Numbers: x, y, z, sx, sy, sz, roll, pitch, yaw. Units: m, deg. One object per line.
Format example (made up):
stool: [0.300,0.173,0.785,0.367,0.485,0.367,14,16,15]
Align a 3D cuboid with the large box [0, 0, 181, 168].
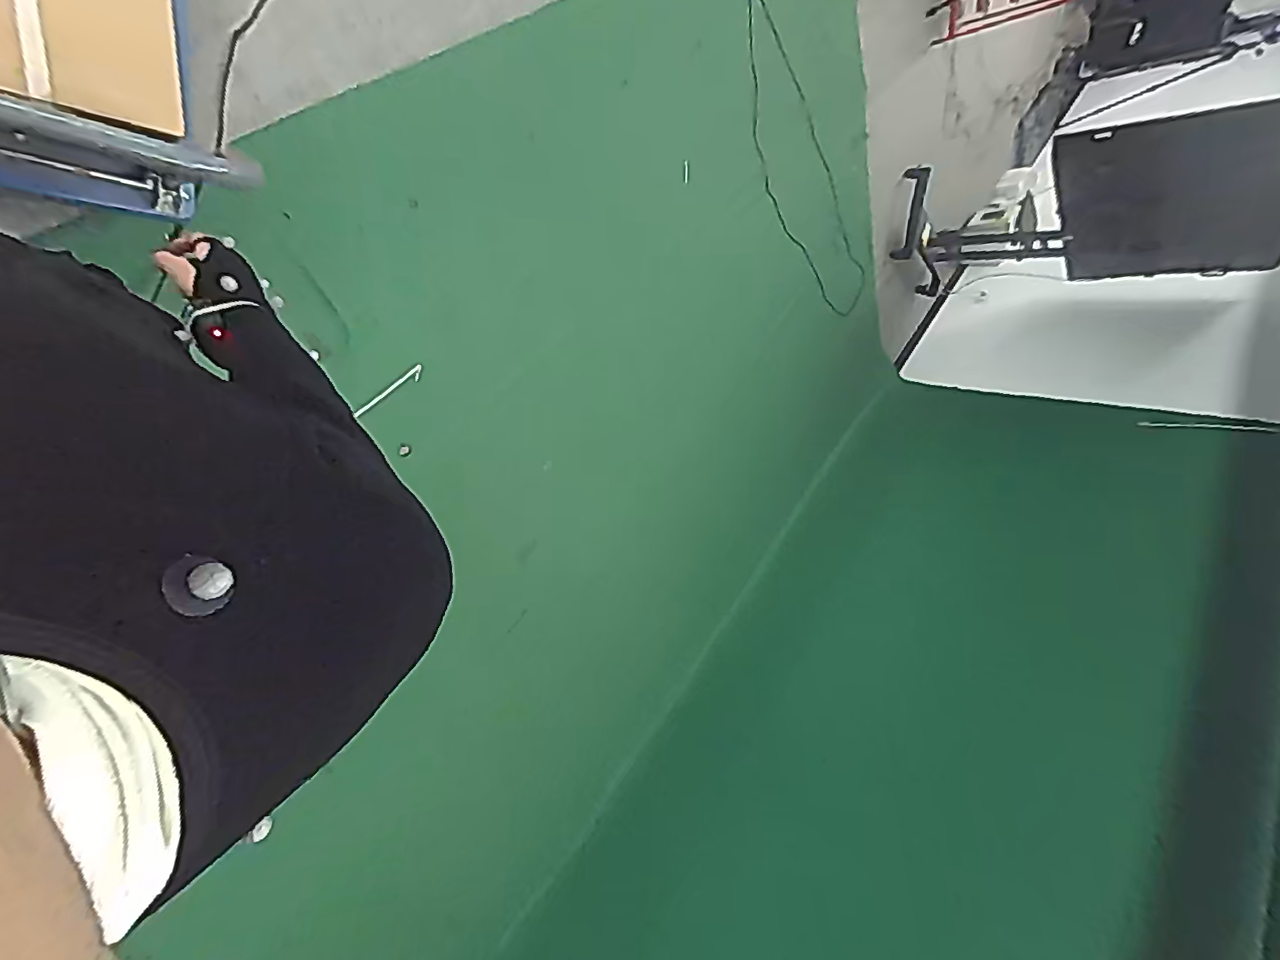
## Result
large box: [-0.931,-0.742,0.800,0.320,0.320,0.408,-11,110,-47]
